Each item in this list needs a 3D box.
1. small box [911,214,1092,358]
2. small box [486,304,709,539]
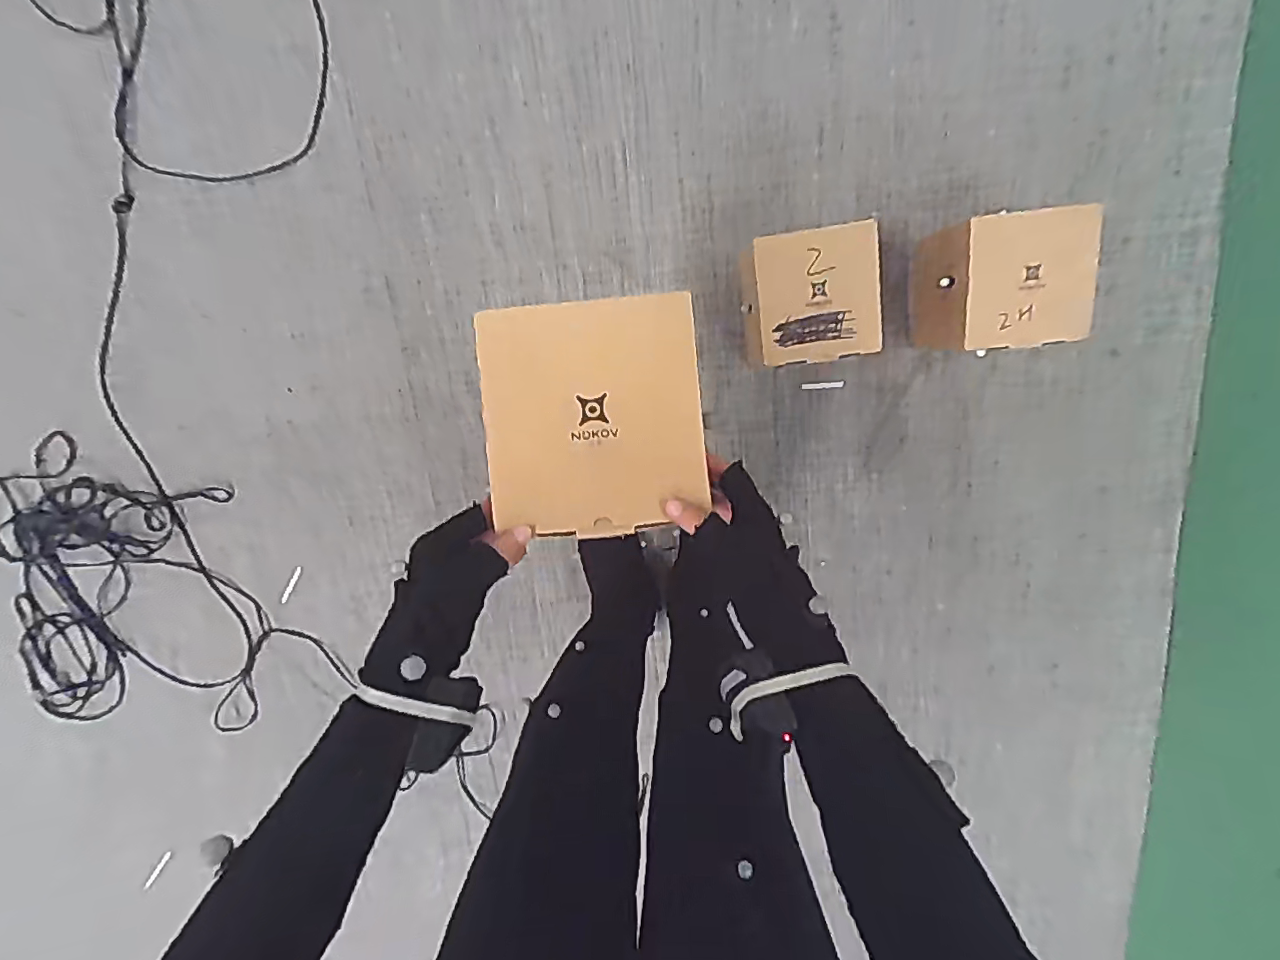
[{"bbox_3d":[0.524,-0.279,0.810,0.168,0.176,0.179,-4,104,6],"label":"small box"},{"bbox_3d":[-0.034,-0.046,0.504,0.168,0.176,0.179,-6,91,1],"label":"small box"}]
